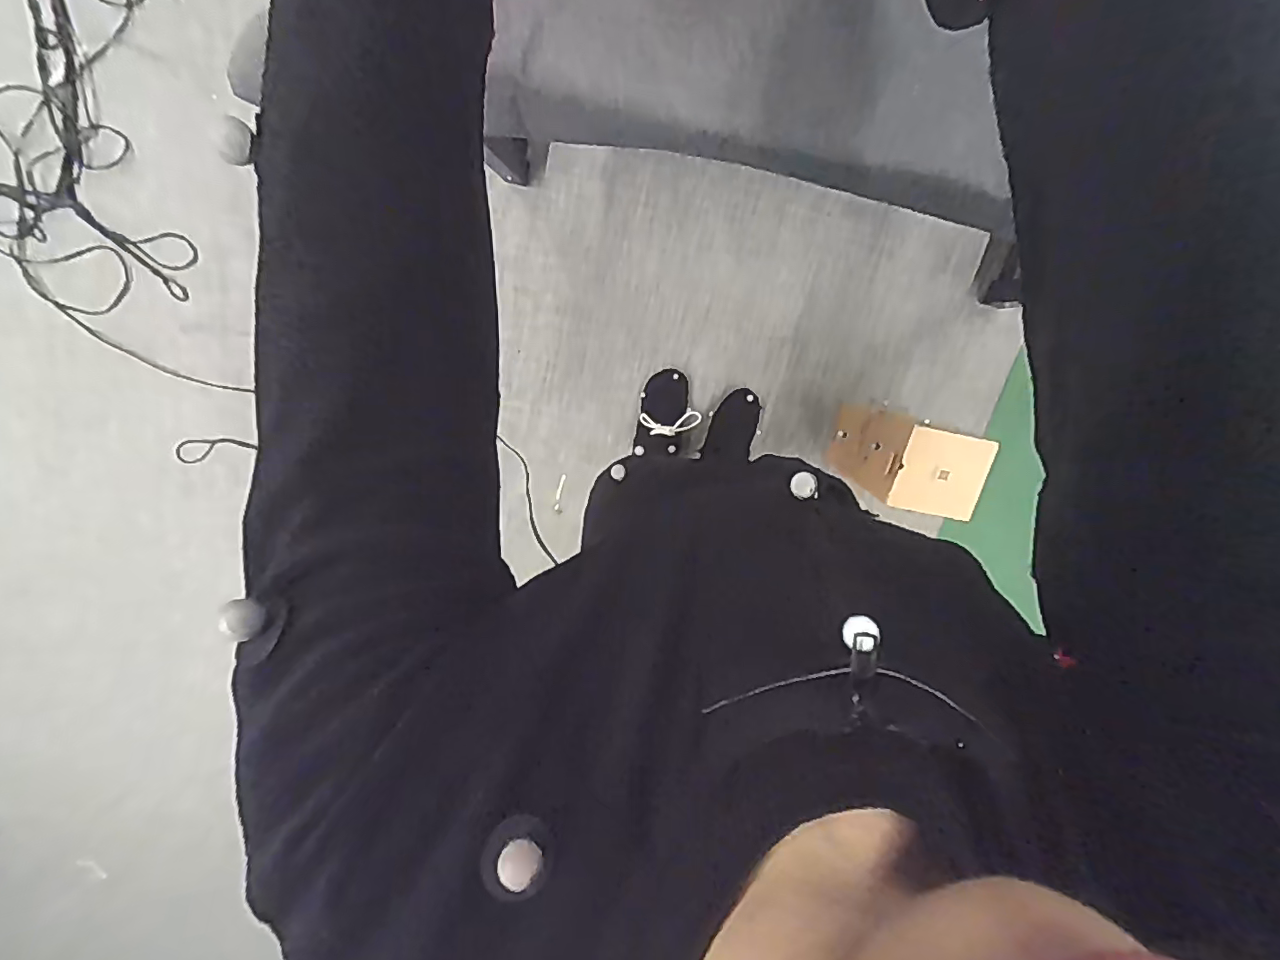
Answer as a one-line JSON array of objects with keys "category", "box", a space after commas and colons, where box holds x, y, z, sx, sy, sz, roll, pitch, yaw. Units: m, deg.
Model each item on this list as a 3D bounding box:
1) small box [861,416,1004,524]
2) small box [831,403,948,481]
[{"category": "small box", "box": [0.586, -0.028, 1.108, 0.179, 0.176, 0.168, 11, 106, -2]}, {"category": "small box", "box": [0.571, -0.079, 1.265, 0.179, 0.176, 0.168, 12, 105, -2]}]
